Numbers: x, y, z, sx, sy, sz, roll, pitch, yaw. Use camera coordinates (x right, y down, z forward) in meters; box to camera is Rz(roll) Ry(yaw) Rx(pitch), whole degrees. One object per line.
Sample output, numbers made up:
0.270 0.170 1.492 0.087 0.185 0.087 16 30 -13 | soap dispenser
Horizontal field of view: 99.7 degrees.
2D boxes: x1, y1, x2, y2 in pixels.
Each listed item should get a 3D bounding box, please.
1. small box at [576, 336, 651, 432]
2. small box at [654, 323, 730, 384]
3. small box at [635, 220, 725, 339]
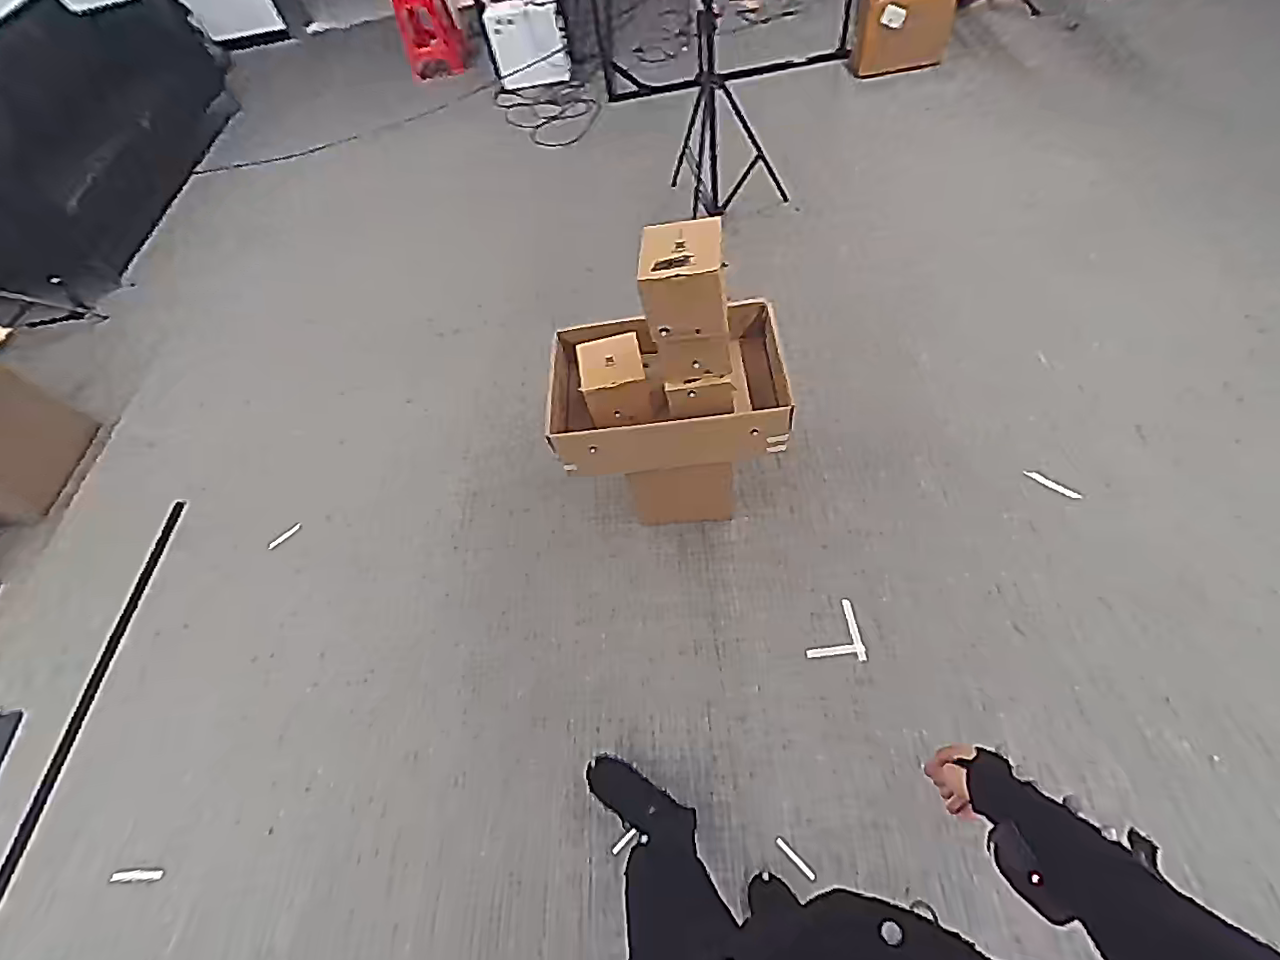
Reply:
-0.071 -0.260 1.477 0.168 0.176 0.179 -13 58 1 | small box
0.124 -0.359 1.307 0.168 0.176 0.179 -7 58 10 | small box
0.093 -0.417 1.152 0.168 0.176 0.179 -2 58 13 | small box
